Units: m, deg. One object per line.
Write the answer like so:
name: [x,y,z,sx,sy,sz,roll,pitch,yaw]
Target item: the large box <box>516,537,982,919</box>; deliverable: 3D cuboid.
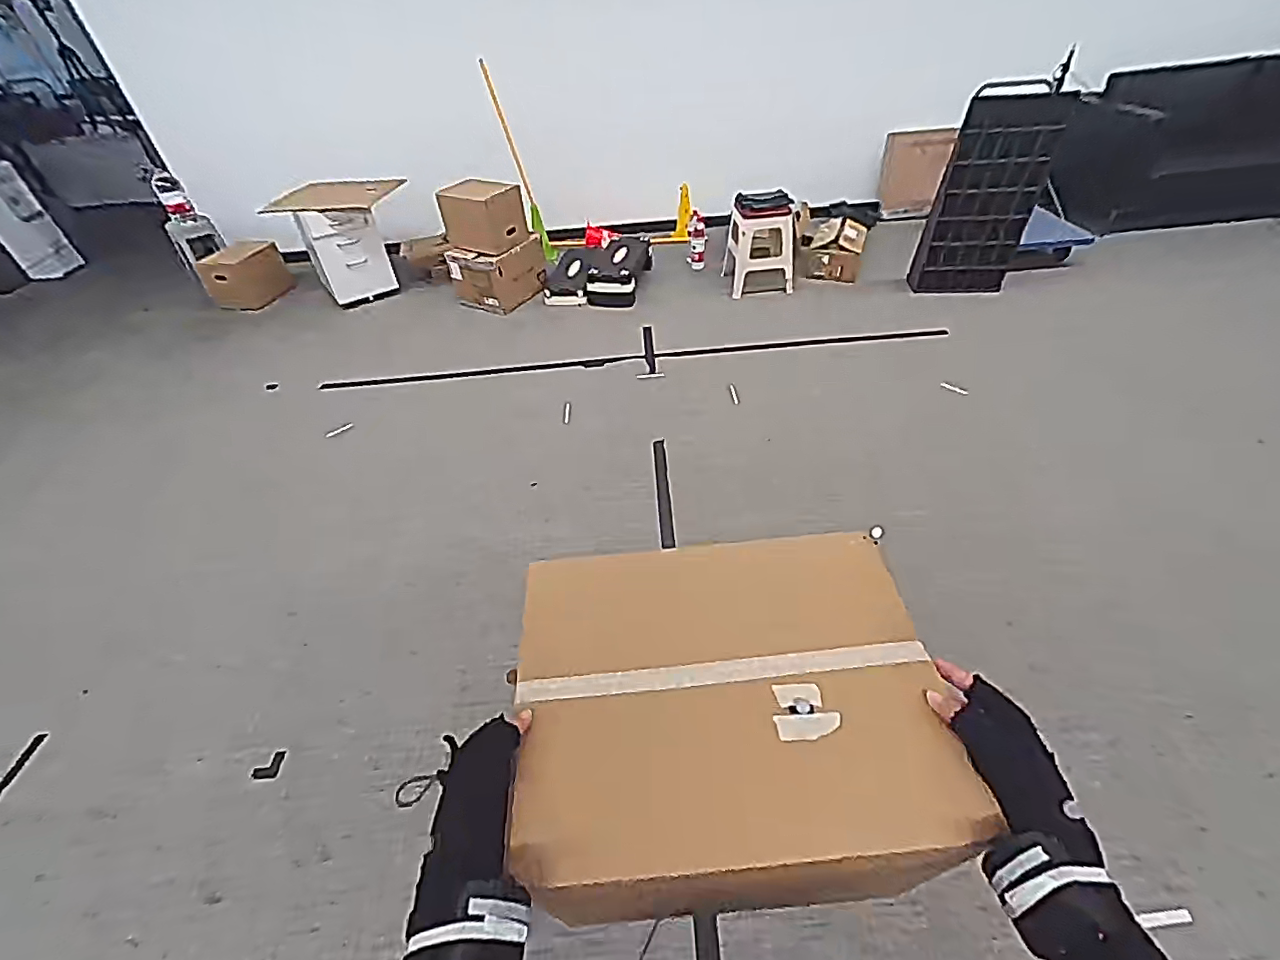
large box: [0.087,0.301,0.657,0.408,0.320,0.320,-5,47,-1]
